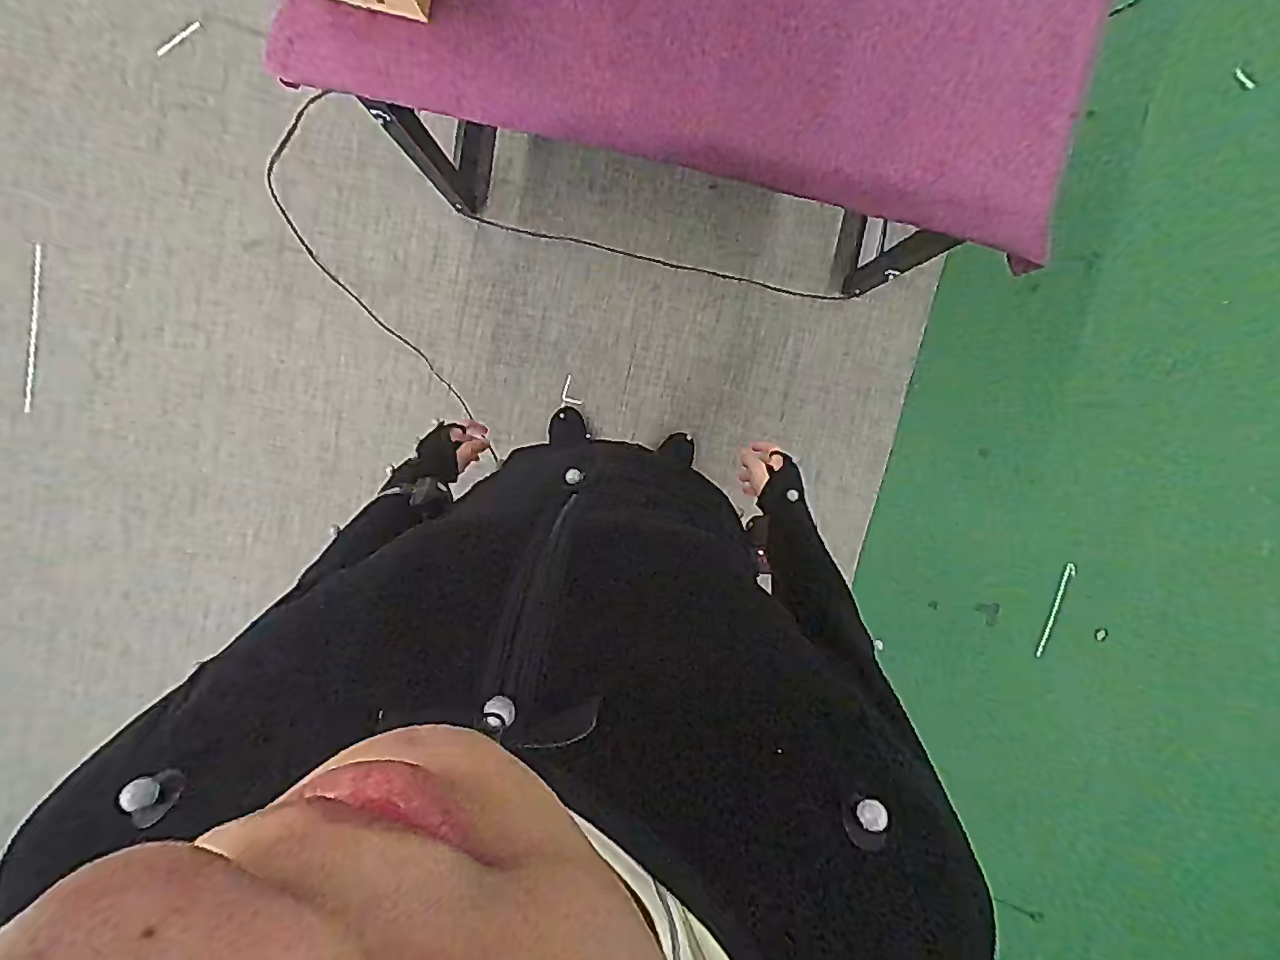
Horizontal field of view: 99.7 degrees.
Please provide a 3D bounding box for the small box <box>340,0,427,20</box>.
[{"bbox_3d":[-0.380,-0.774,0.713,0.168,0.176,0.179,12,96,-2],"label":"small box"}]
